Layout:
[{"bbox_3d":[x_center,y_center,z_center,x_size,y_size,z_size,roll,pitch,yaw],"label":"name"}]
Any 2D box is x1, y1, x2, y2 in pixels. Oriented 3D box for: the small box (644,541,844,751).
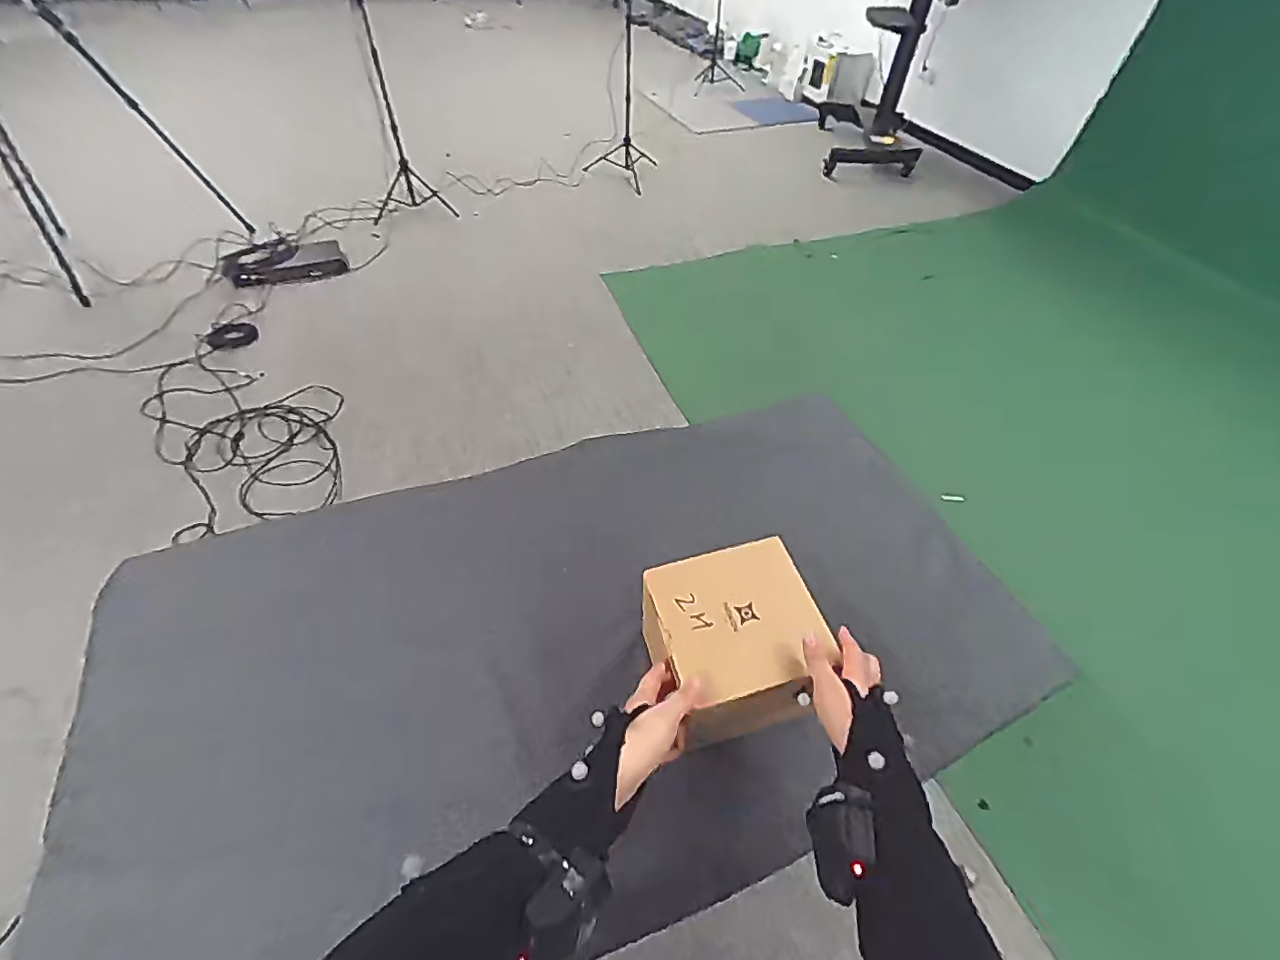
[{"bbox_3d":[0.106,0.200,0.647,0.179,0.176,0.168,-12,51,-9],"label":"small box"}]
